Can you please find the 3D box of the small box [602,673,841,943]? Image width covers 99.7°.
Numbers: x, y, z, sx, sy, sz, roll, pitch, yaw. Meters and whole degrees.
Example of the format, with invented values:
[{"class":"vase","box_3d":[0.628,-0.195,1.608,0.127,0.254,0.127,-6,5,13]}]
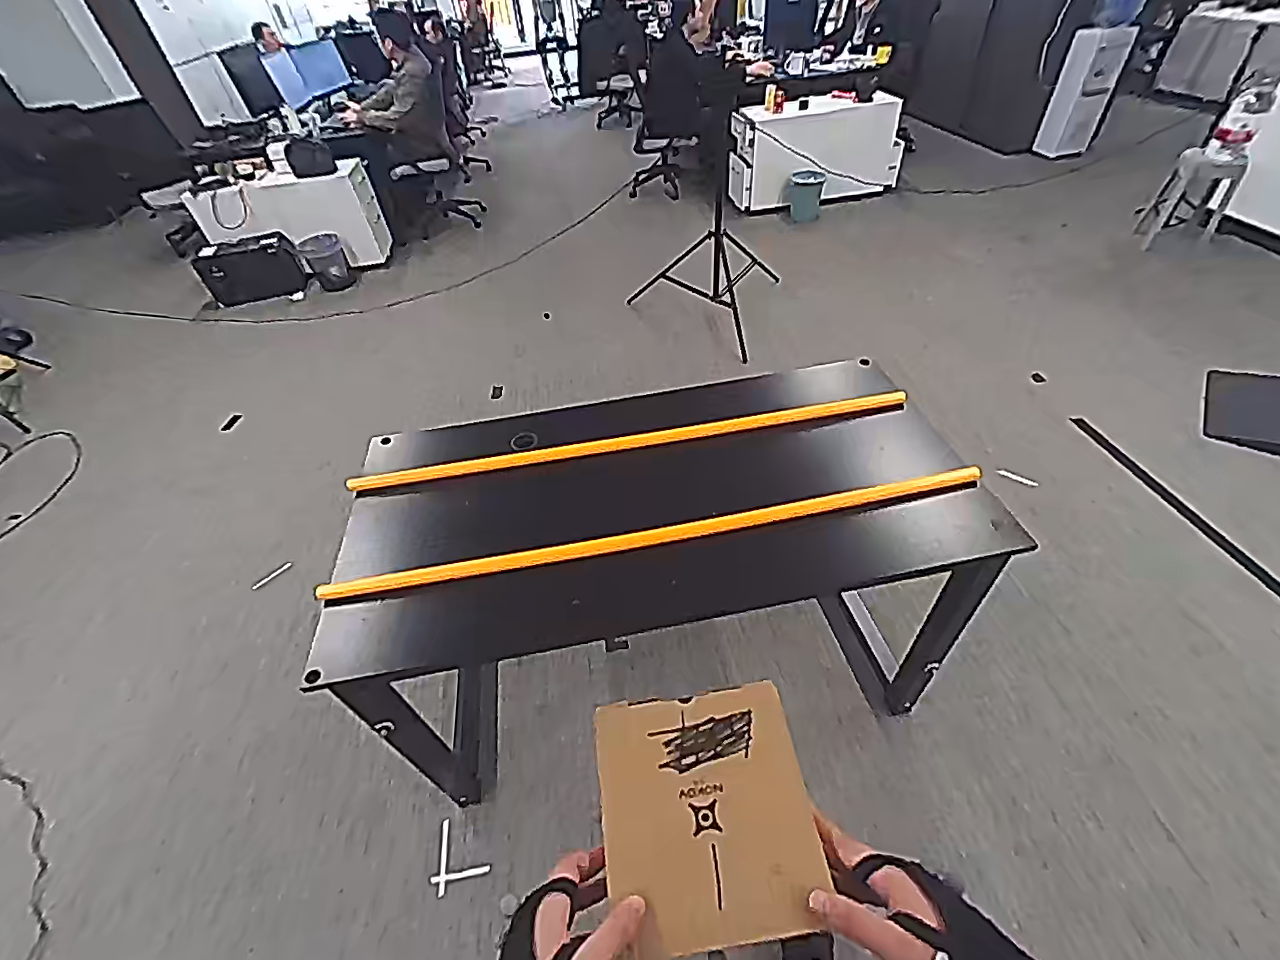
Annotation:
[{"class":"small box","box_3d":[0.058,0.303,0.500,0.168,0.176,0.179,-8,51,-2]}]
